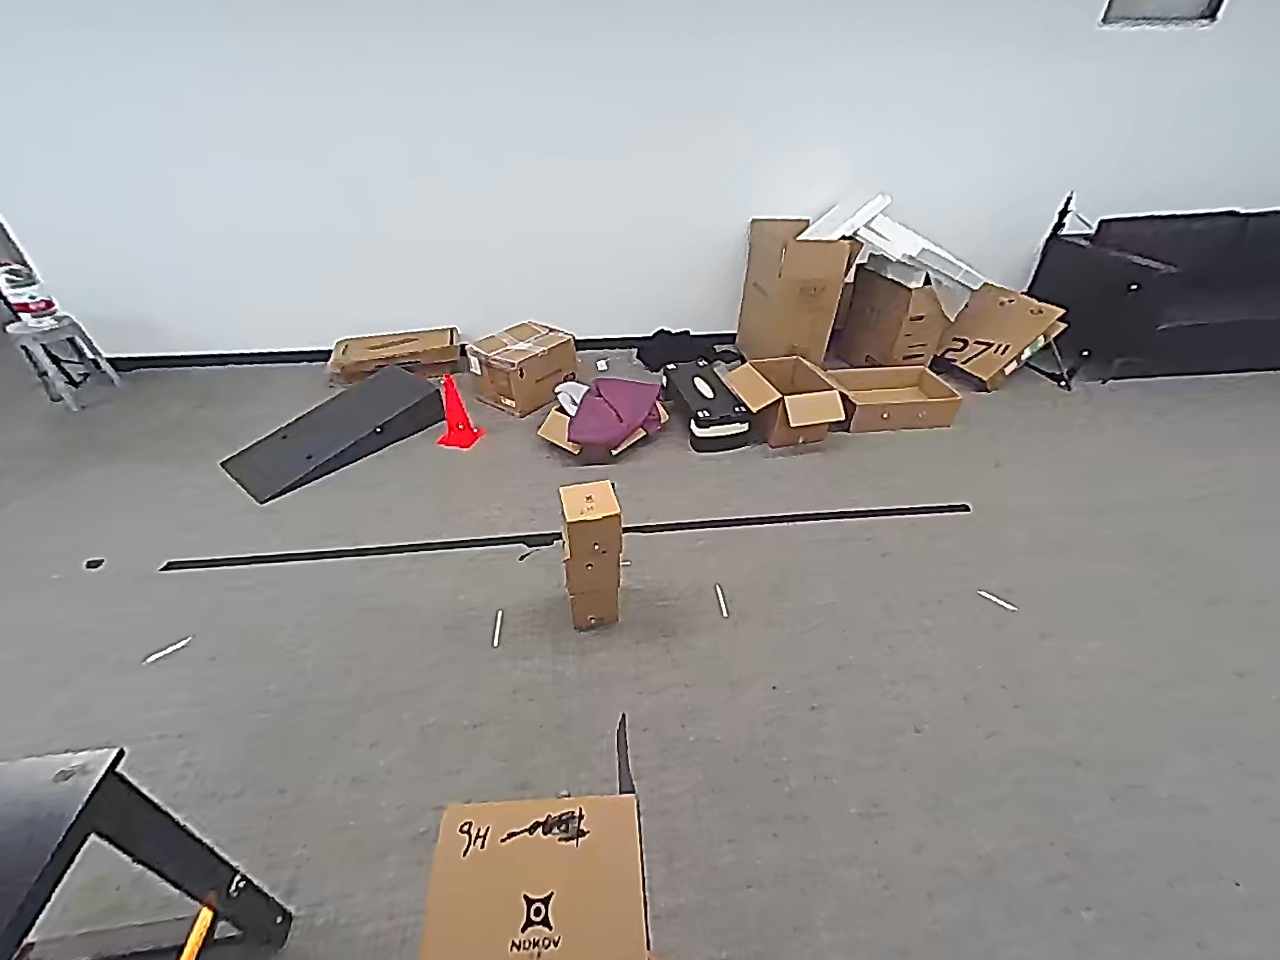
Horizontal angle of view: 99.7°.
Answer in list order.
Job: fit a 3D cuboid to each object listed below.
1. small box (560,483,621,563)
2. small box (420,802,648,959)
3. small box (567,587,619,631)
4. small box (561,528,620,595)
[{"bbox_3d":[-0.156,0.135,1.704,0.168,0.176,0.179,-9,38,-11],"label":"small box"},{"bbox_3d":[-0.079,0.394,0.445,0.168,0.176,0.179,0,41,-6],"label":"small box"},{"bbox_3d":[-0.169,0.400,1.900,0.168,0.176,0.179,-9,39,-10],"label":"small box"},{"bbox_3d":[-0.164,0.266,1.805,0.179,0.176,0.168,-6,37,-9],"label":"small box"}]
